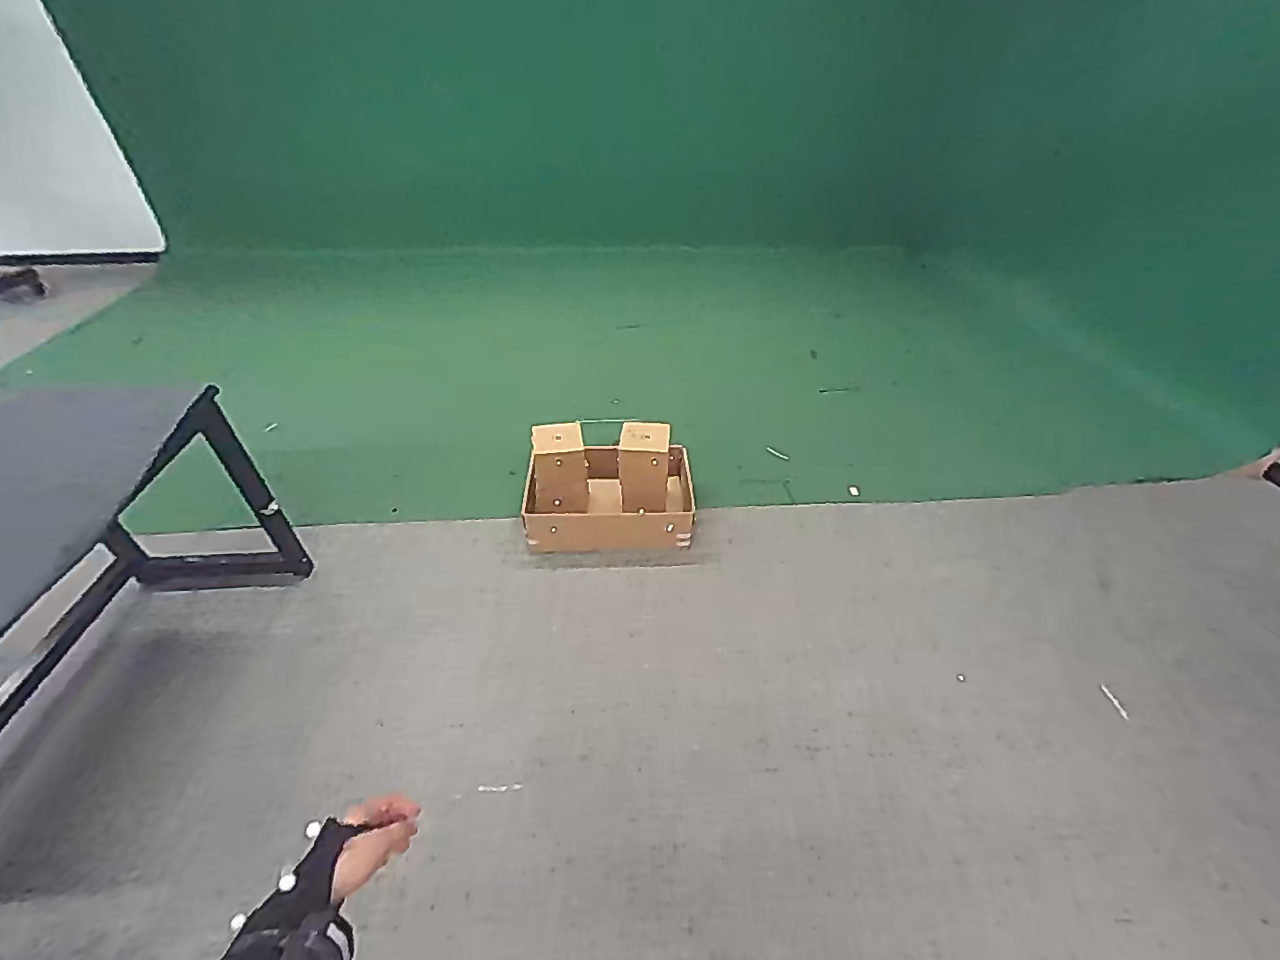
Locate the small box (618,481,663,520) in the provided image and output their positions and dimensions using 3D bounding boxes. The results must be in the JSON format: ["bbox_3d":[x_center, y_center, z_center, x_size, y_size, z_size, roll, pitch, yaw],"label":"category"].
[{"bbox_3d":[0.004,0.029,2.074,0.168,0.176,0.179,3,43,3],"label":"small box"}]

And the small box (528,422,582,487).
[{"bbox_3d":[-0.306,-0.090,1.948,0.179,0.176,0.168,-5,43,-10],"label":"small box"}]

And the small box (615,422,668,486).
[{"bbox_3d":[0.007,-0.092,1.961,0.179,0.176,0.168,4,41,4],"label":"small box"}]
